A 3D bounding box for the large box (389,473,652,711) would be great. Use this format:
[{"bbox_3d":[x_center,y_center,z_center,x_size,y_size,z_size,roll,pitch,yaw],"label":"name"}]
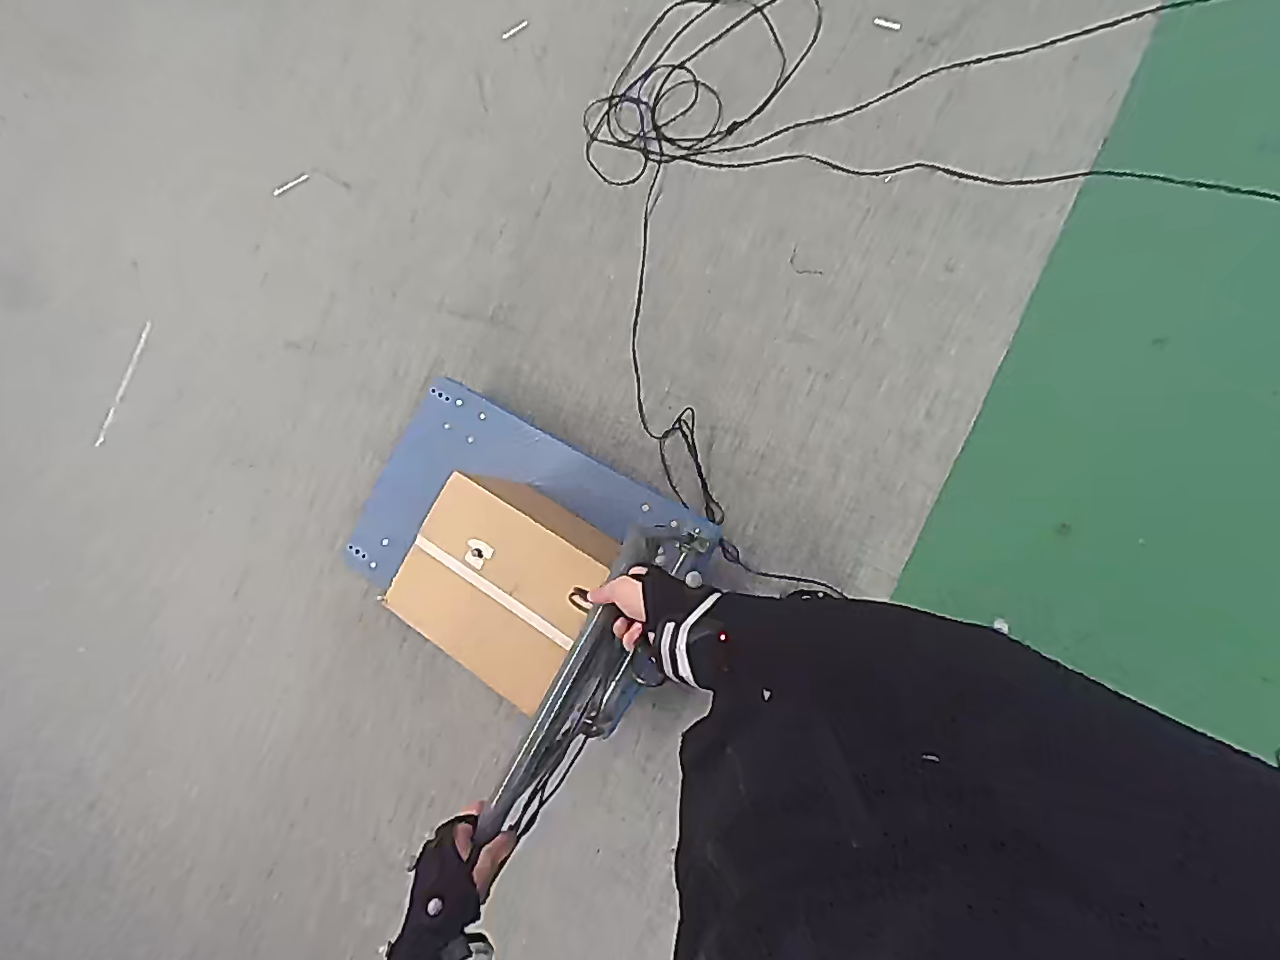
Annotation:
[{"bbox_3d":[-0.240,0.223,1.194,0.408,0.320,0.320,31,92,15],"label":"large box"}]
